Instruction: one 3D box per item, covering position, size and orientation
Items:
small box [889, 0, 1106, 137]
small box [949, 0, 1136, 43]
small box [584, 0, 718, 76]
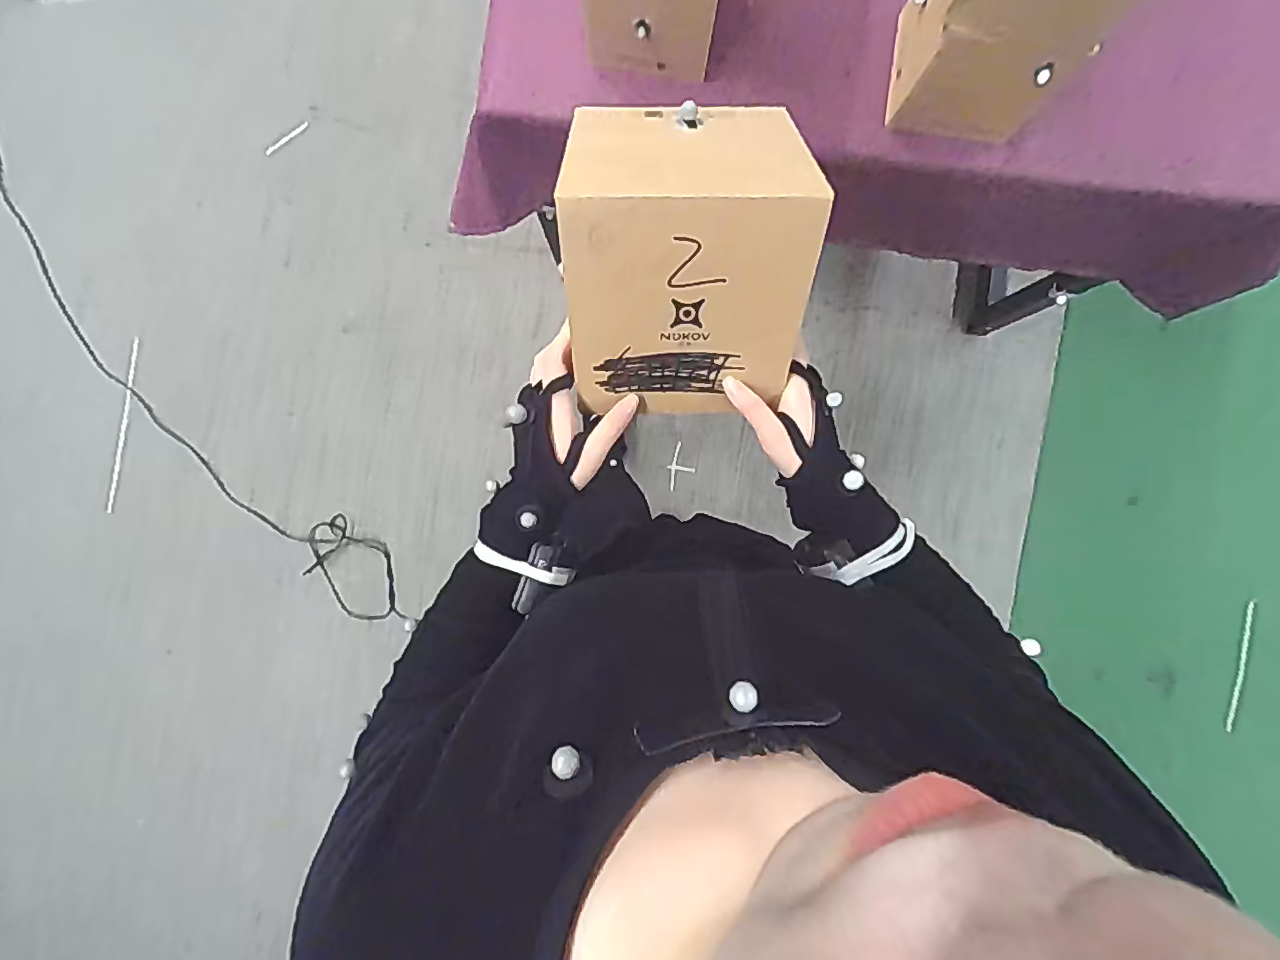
[{"bbox_3d":[0.442,-0.571,0.684,0.179,0.176,0.168,8,90,0],"label":"small box"},{"bbox_3d":[0.435,-0.573,0.519,0.179,0.176,0.168,12,90,0],"label":"small box"},{"bbox_3d":[0.024,-0.660,0.682,0.168,0.176,0.179,9,90,-1],"label":"small box"}]
